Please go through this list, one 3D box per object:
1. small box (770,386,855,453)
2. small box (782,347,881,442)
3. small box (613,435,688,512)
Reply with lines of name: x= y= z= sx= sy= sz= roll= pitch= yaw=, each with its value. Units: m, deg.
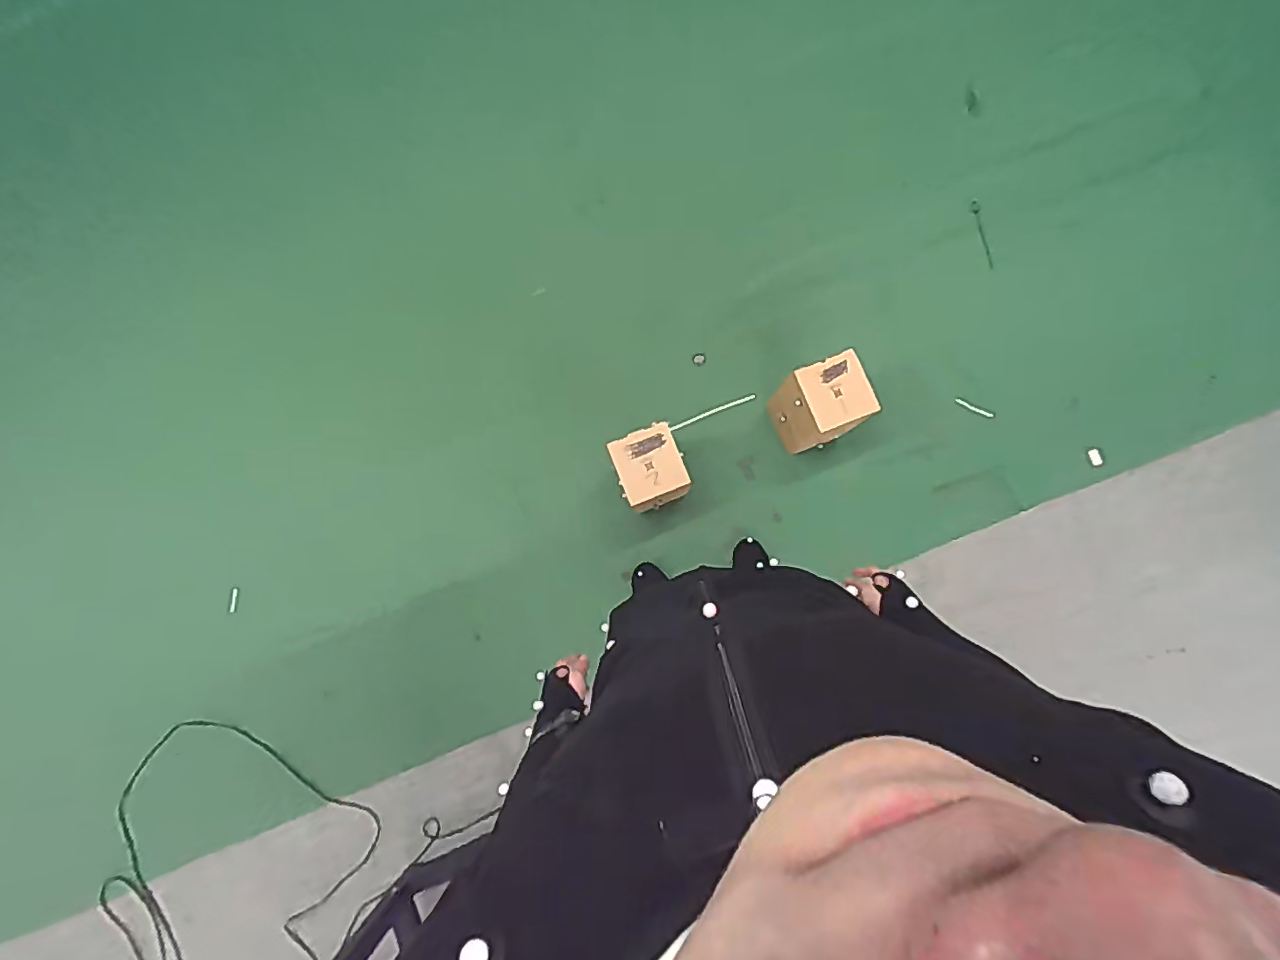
small box: x=0.501 y=-0.197 z=1.595 sx=0.168 sy=0.176 sz=0.179 roll=-21 pitch=83 yaw=-1
small box: x=0.497 y=-0.219 z=1.432 sx=0.168 sy=0.176 sz=0.179 roll=-22 pitch=83 yaw=-1
small box: x=0.035 y=-0.011 z=1.594 sx=0.168 sy=0.176 sz=0.179 roll=-23 pitch=82 yaw=0
